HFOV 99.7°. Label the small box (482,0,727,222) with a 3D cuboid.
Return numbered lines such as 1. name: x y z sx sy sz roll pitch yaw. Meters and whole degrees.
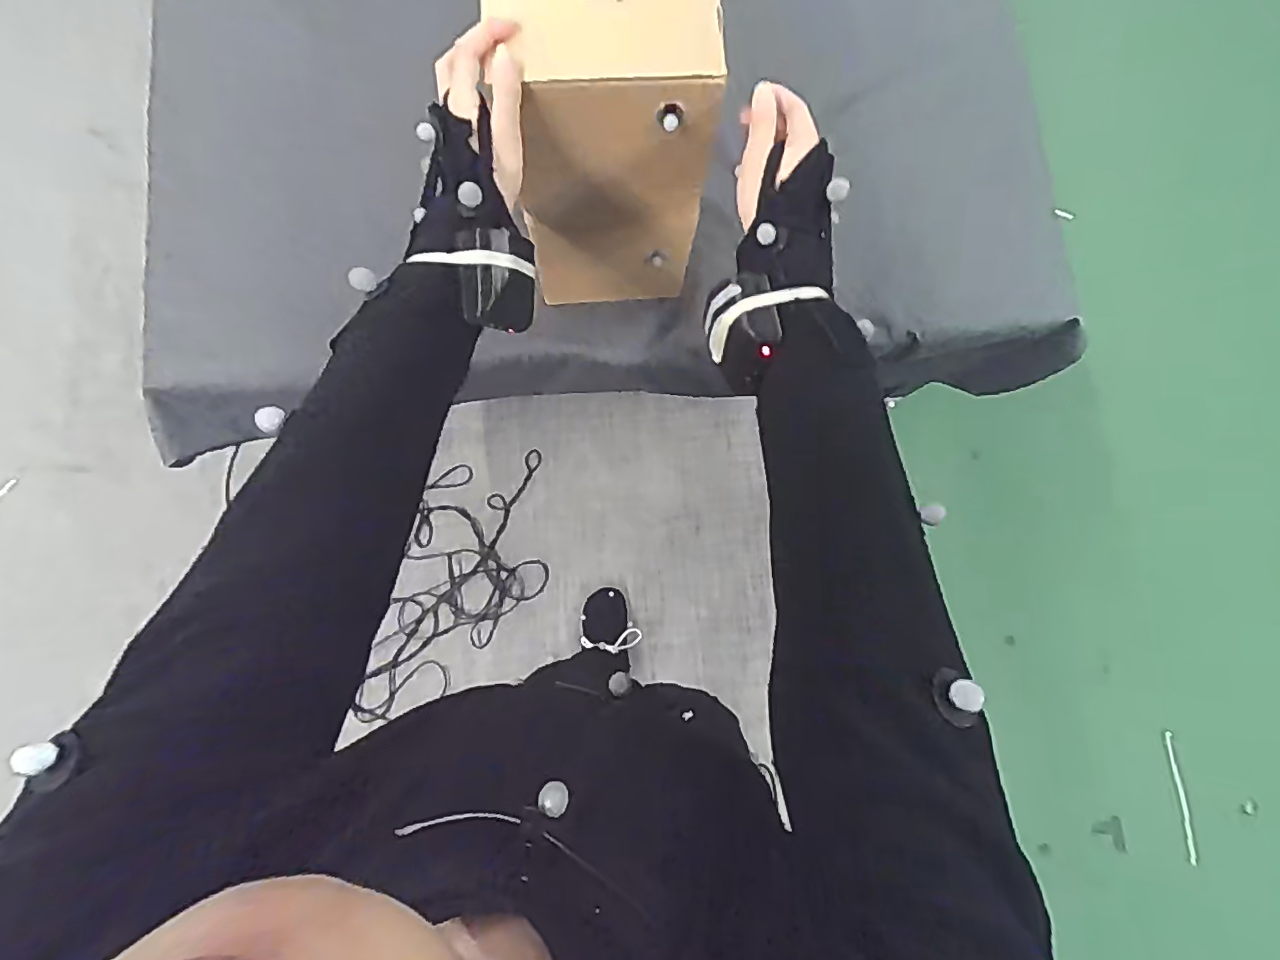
1. small box: -0.032 -0.350 0.474 0.179 0.176 0.168 -5 82 -4
